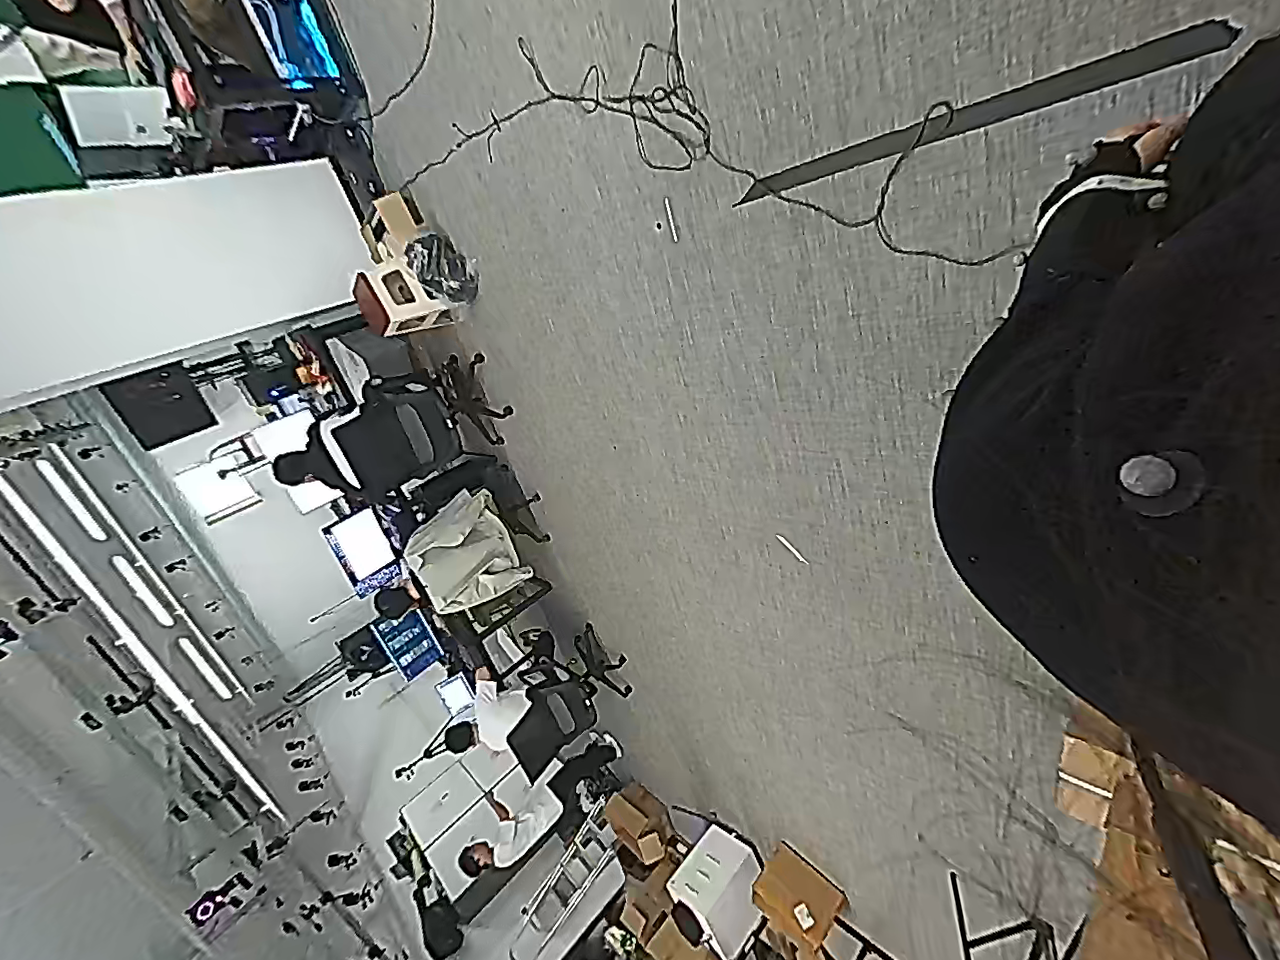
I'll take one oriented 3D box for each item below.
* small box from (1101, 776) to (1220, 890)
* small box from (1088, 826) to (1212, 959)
[{"bbox_3d":[1.181,0.820,1.230,0.179,0.176,0.168,9,123,50],"label":"small box"},{"bbox_3d":[1.068,0.888,1.135,0.168,0.176,0.179,9,123,48],"label":"small box"}]
